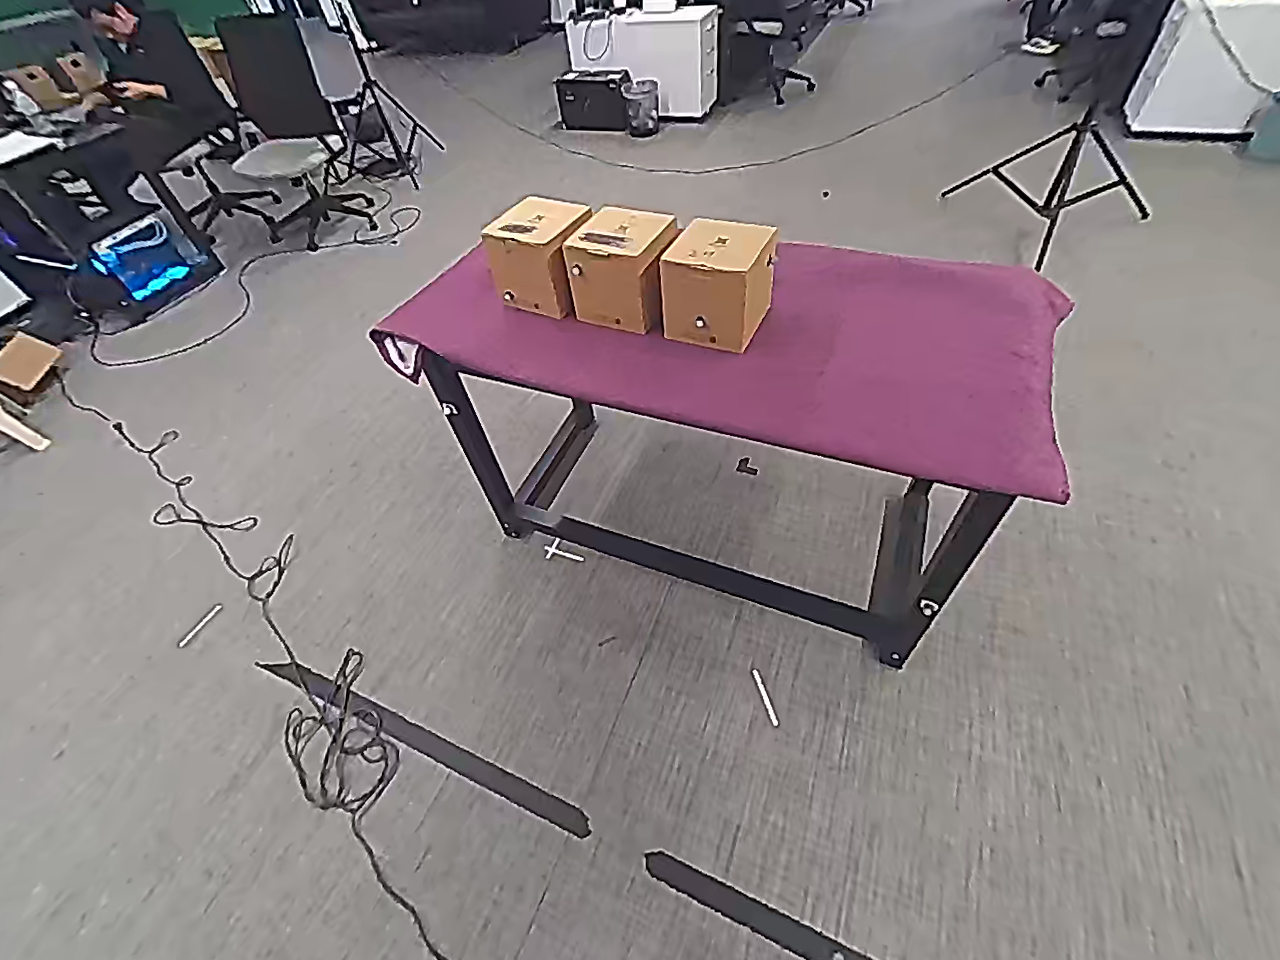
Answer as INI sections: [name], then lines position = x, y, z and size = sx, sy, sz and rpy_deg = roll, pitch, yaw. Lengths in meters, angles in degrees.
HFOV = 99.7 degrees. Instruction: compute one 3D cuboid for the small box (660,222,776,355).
[small box]
position = 0.151, -0.371, 1.048
size = 0.168, 0.176, 0.179
rpy_deg = 17, 53, 21
